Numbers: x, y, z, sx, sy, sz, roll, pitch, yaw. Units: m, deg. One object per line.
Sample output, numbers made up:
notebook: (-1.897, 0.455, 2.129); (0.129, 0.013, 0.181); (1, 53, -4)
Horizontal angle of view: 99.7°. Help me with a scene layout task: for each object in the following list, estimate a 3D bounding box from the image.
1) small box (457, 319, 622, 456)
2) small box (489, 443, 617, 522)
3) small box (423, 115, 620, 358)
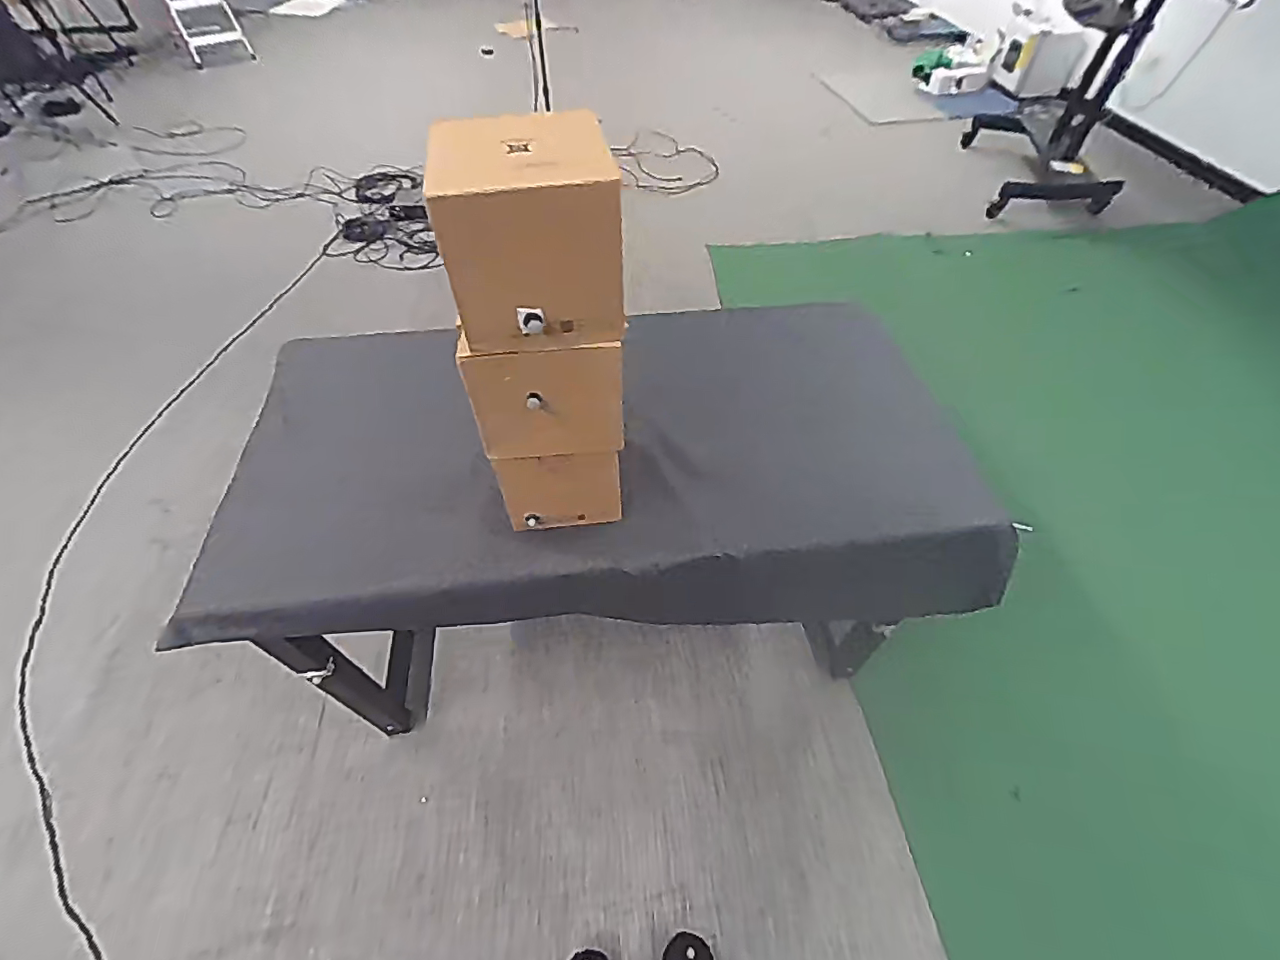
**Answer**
small box: (-0.121, -0.147, 0.694); (0.179, 0.176, 0.168); (-7, 50, -7)
small box: (-0.125, -0.049, 0.822); (0.168, 0.176, 0.179); (-6, 50, -5)
small box: (-0.117, -0.255, 0.569); (0.168, 0.176, 0.179); (-10, 53, -7)
